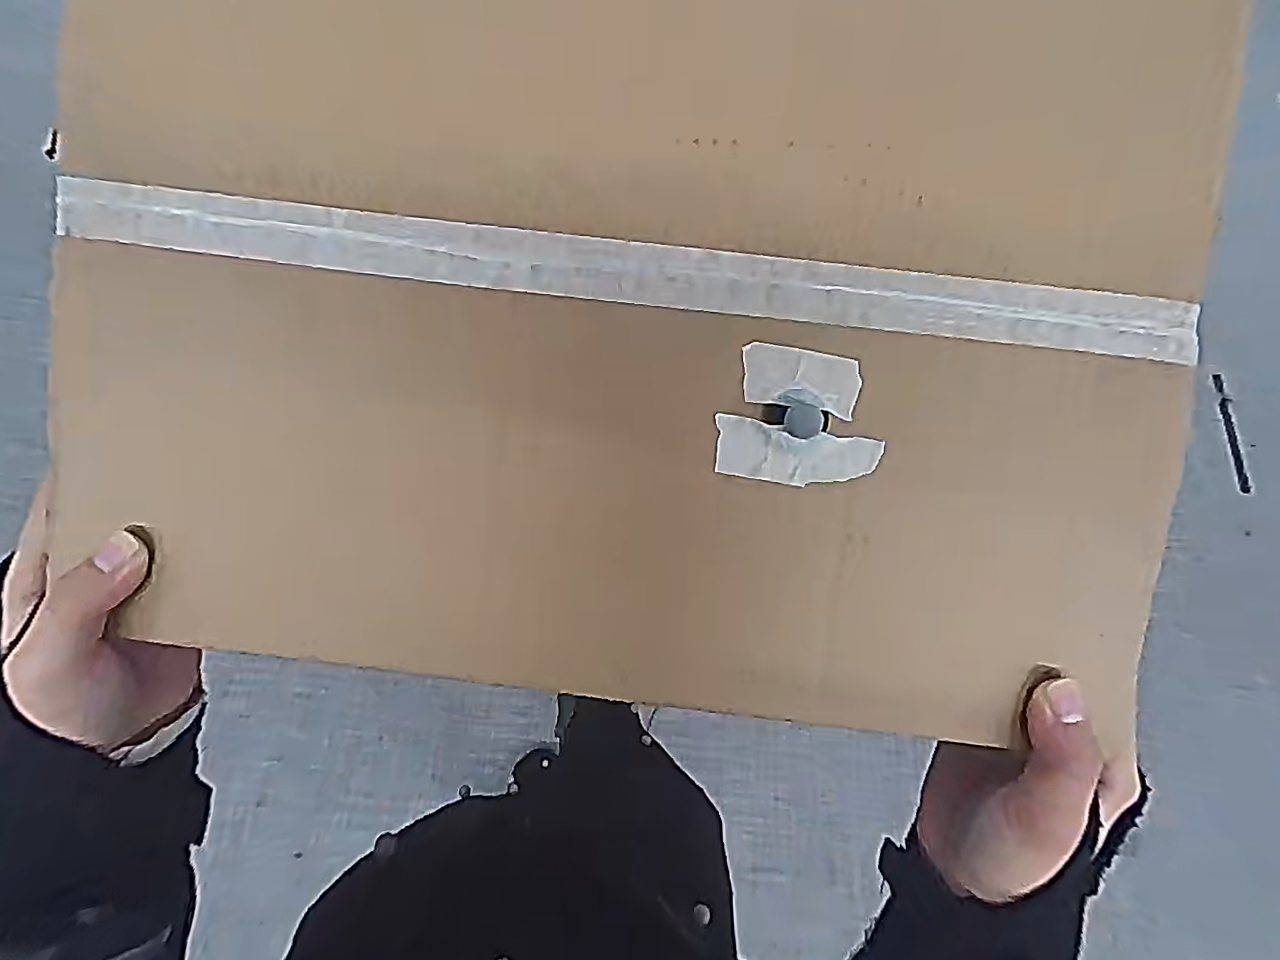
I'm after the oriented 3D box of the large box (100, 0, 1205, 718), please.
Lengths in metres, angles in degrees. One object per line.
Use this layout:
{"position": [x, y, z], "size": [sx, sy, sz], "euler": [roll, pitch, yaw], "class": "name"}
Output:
{"position": [-0.001, -0.082, 0.356], "size": [0.408, 0.320, 0.320], "euler": [7, 94, 0], "class": "large box"}
